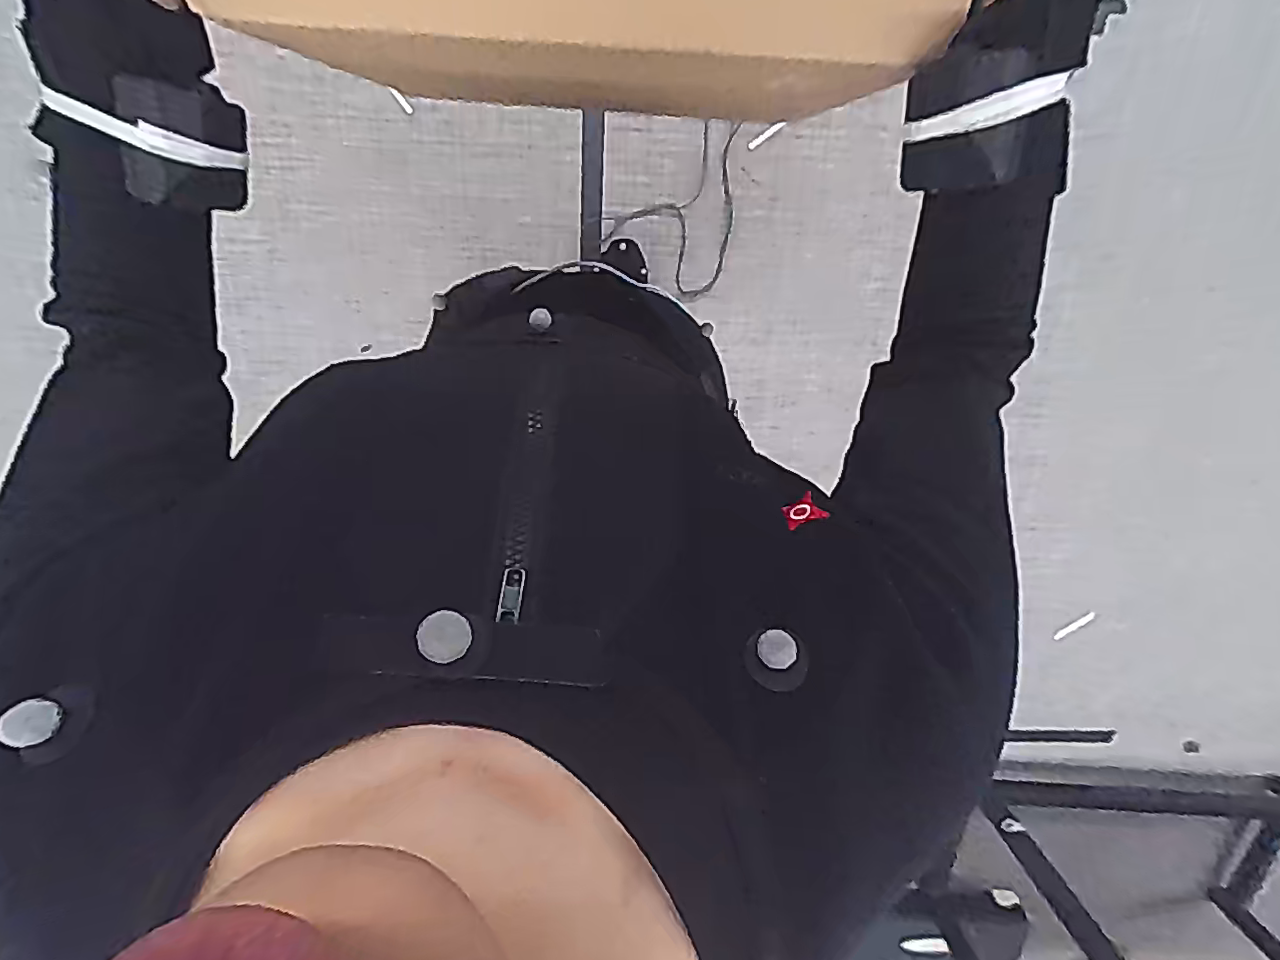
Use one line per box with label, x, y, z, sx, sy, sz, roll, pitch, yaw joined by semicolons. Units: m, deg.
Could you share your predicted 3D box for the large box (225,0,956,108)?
large box;-0.025;-0.452;0.354;0.408;0.320;0.320;2;120;-3
